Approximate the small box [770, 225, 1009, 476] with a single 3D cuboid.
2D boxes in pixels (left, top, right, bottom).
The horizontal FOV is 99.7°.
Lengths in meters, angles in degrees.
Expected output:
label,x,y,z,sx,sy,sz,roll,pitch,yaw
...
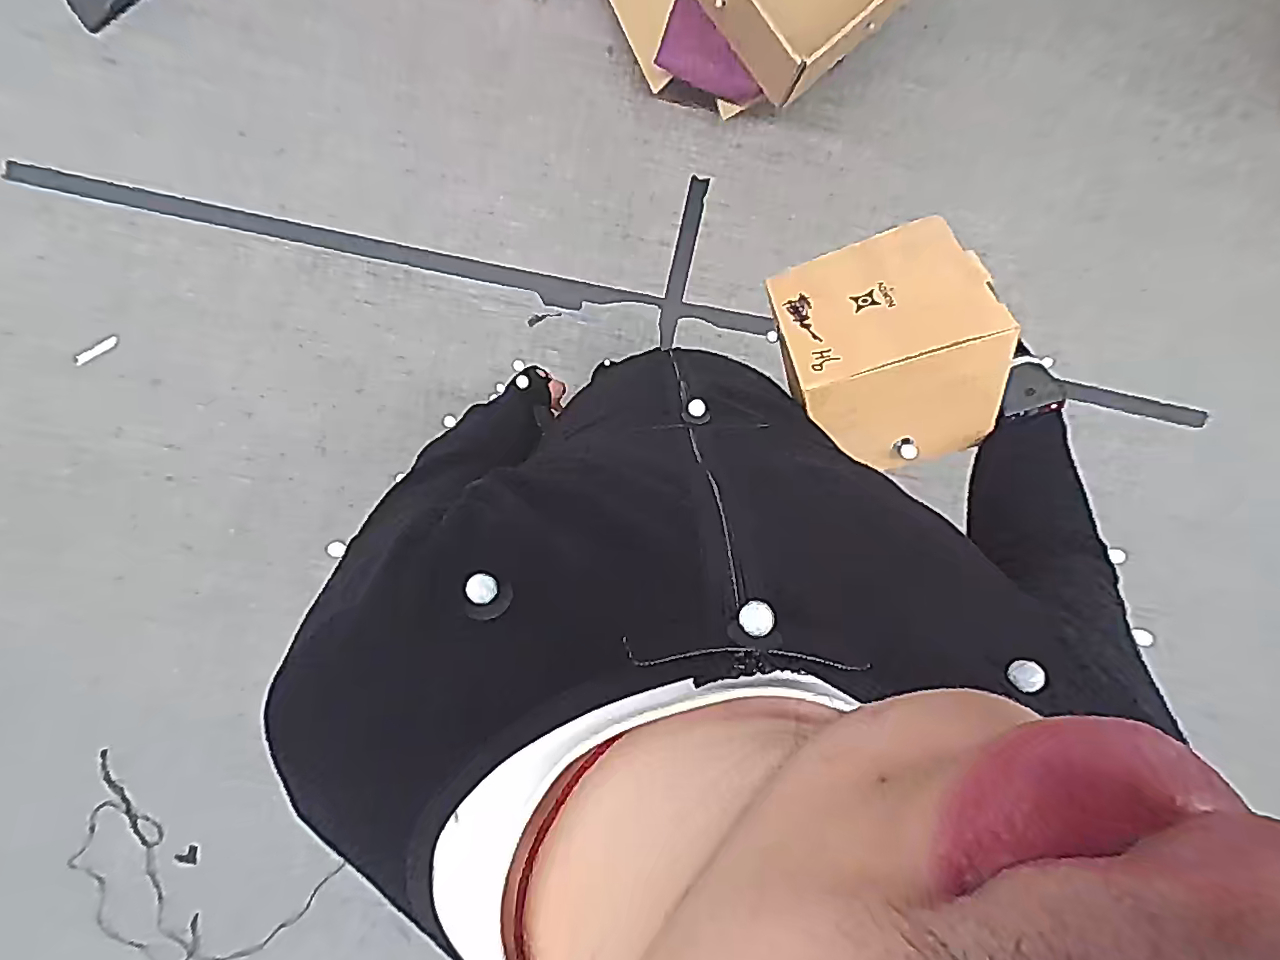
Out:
label,x,y,z,sx,sy,sz,roll,pitch,yaw
small box,0.253,-0.128,0.583,0.179,0.168,0.176,-15,143,14
